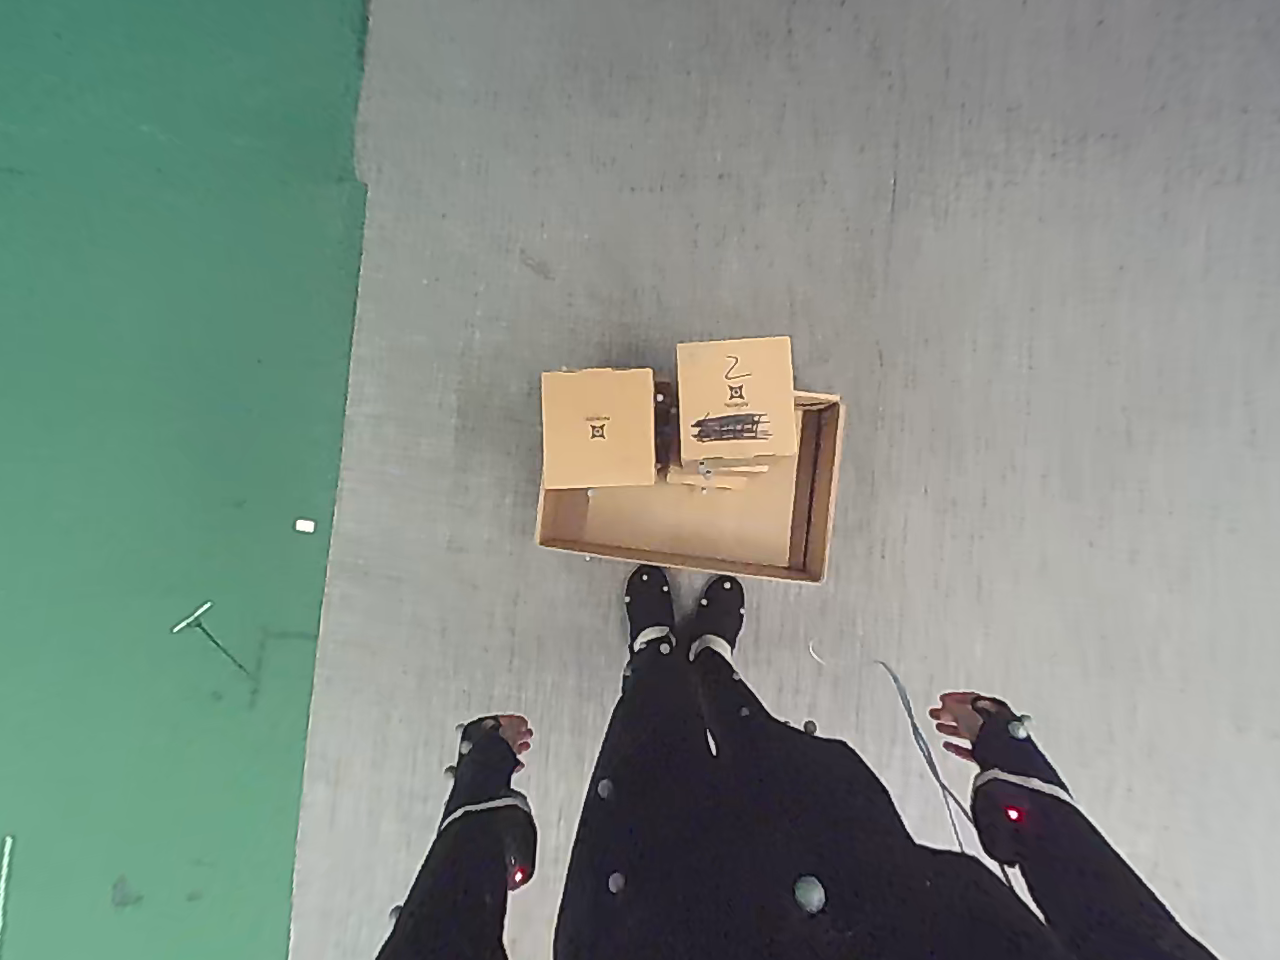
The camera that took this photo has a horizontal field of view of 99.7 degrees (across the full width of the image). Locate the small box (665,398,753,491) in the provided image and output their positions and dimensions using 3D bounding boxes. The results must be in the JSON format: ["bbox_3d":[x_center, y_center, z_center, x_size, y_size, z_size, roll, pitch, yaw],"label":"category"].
[{"bbox_3d":[0.149,-0.072,1.184,0.168,0.176,0.179,6,89,7],"label":"small box"}]

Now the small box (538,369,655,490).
[{"bbox_3d":[-0.062,-0.074,0.872,0.168,0.176,0.179,-1,89,4],"label":"small box"}]
